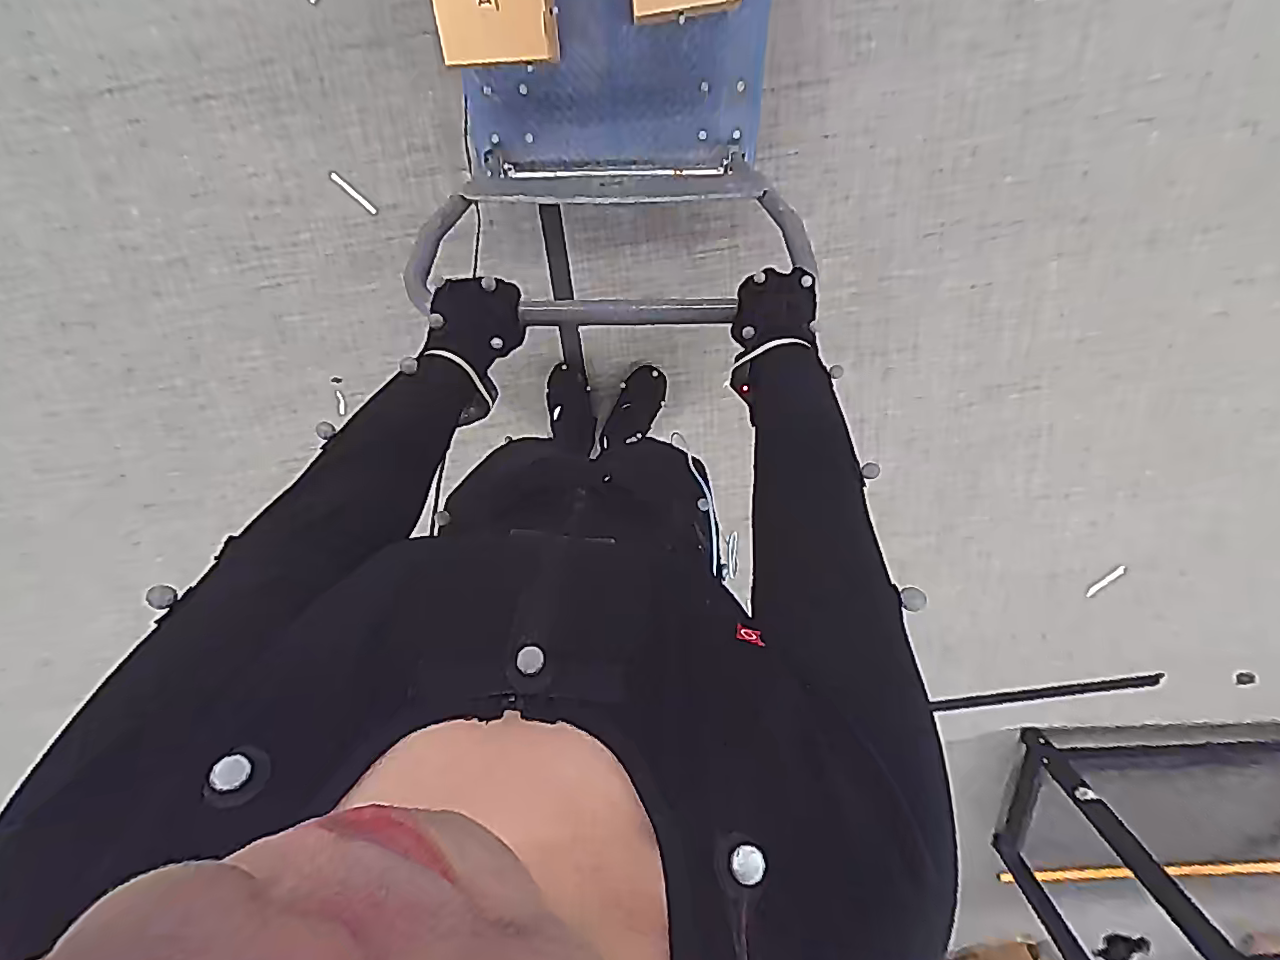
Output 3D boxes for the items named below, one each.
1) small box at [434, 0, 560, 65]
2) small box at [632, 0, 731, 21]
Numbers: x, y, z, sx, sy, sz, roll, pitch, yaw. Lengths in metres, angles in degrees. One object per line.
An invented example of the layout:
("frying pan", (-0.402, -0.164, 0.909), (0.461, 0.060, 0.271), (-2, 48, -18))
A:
("small box", (-0.237, -0.804, 0.904), (0.179, 0.176, 0.168), (-4, 126, 1))
("small box", (0.068, -0.857, 0.864), (0.179, 0.176, 0.168), (-6, 127, 4))
